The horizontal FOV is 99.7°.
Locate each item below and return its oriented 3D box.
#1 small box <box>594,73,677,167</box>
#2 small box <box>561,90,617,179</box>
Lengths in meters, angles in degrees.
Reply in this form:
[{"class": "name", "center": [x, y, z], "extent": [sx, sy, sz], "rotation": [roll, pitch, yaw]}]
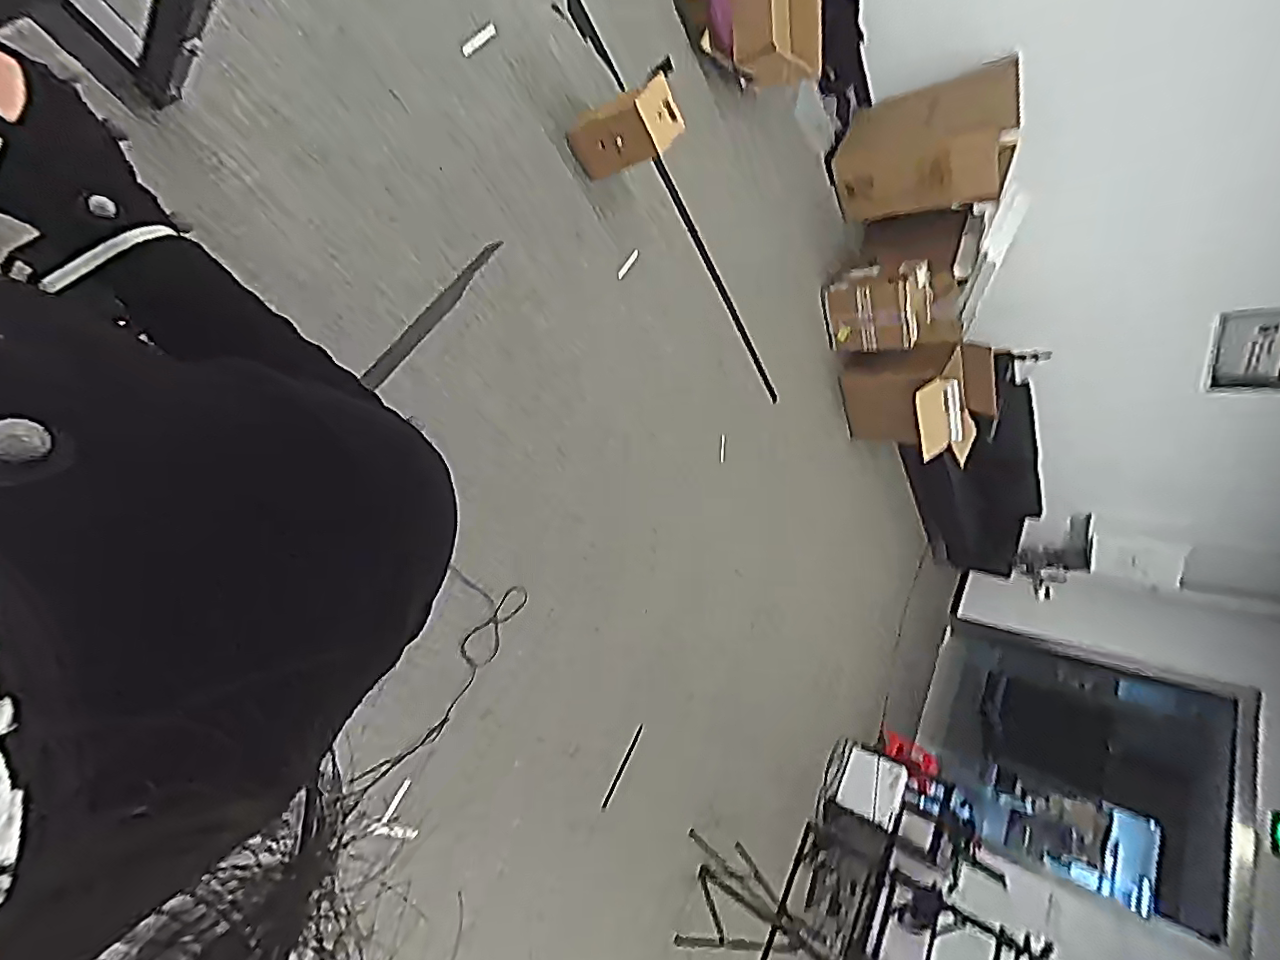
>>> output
[{"class": "small box", "center": [-0.016, -1.141, 1.723], "extent": [0.168, 0.176, 0.179], "rotation": [50, 61, -39]}, {"class": "small box", "center": [-0.135, -1.165, 1.834], "extent": [0.179, 0.176, 0.168], "rotation": [51, 61, -40]}]
